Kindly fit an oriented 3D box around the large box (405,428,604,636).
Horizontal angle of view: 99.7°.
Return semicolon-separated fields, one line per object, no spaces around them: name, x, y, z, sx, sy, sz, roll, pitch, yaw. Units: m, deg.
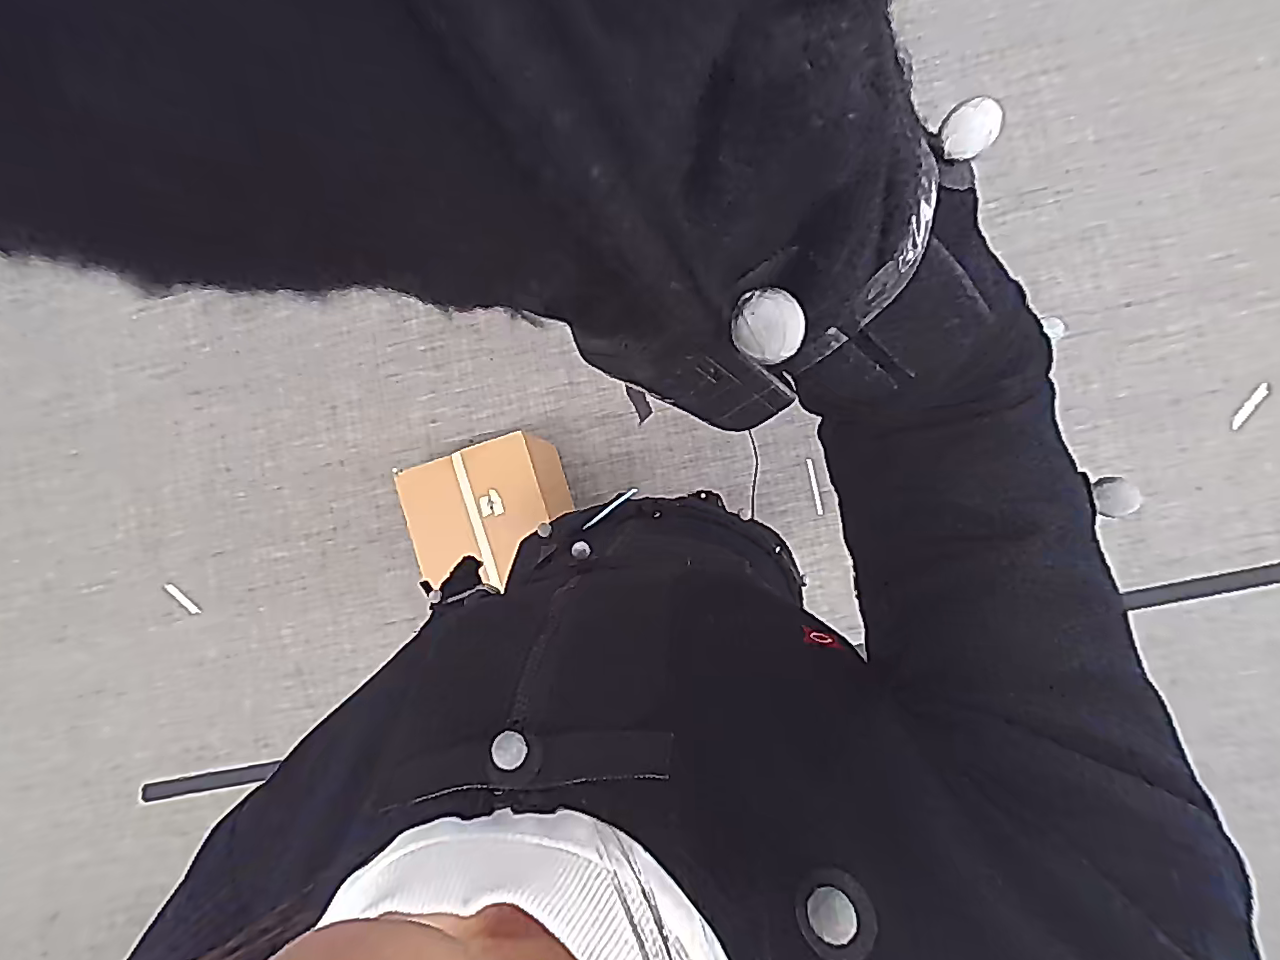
large box;-0.317;0.125;1.355;0.320;0.320;0.408;-18;85;4
